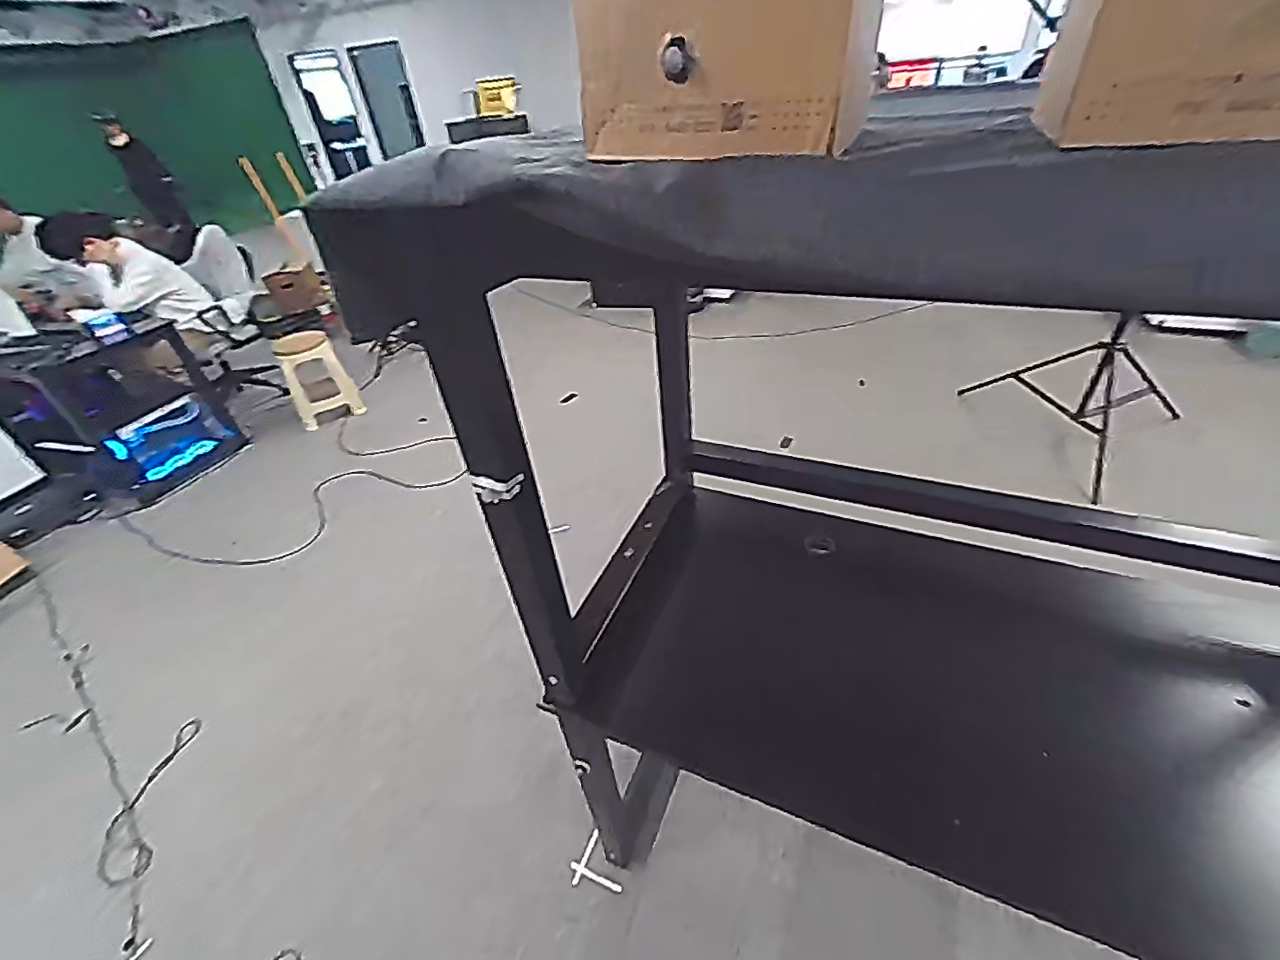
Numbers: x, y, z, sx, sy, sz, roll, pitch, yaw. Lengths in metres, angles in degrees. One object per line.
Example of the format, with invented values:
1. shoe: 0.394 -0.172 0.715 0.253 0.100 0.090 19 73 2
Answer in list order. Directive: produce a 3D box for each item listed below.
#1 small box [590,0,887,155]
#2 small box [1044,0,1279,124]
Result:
1. small box: 0.070 -0.323 0.355 0.168 0.176 0.179 13 40 21
2. small box: 0.319 -0.273 0.253 0.168 0.176 0.179 12 39 23
